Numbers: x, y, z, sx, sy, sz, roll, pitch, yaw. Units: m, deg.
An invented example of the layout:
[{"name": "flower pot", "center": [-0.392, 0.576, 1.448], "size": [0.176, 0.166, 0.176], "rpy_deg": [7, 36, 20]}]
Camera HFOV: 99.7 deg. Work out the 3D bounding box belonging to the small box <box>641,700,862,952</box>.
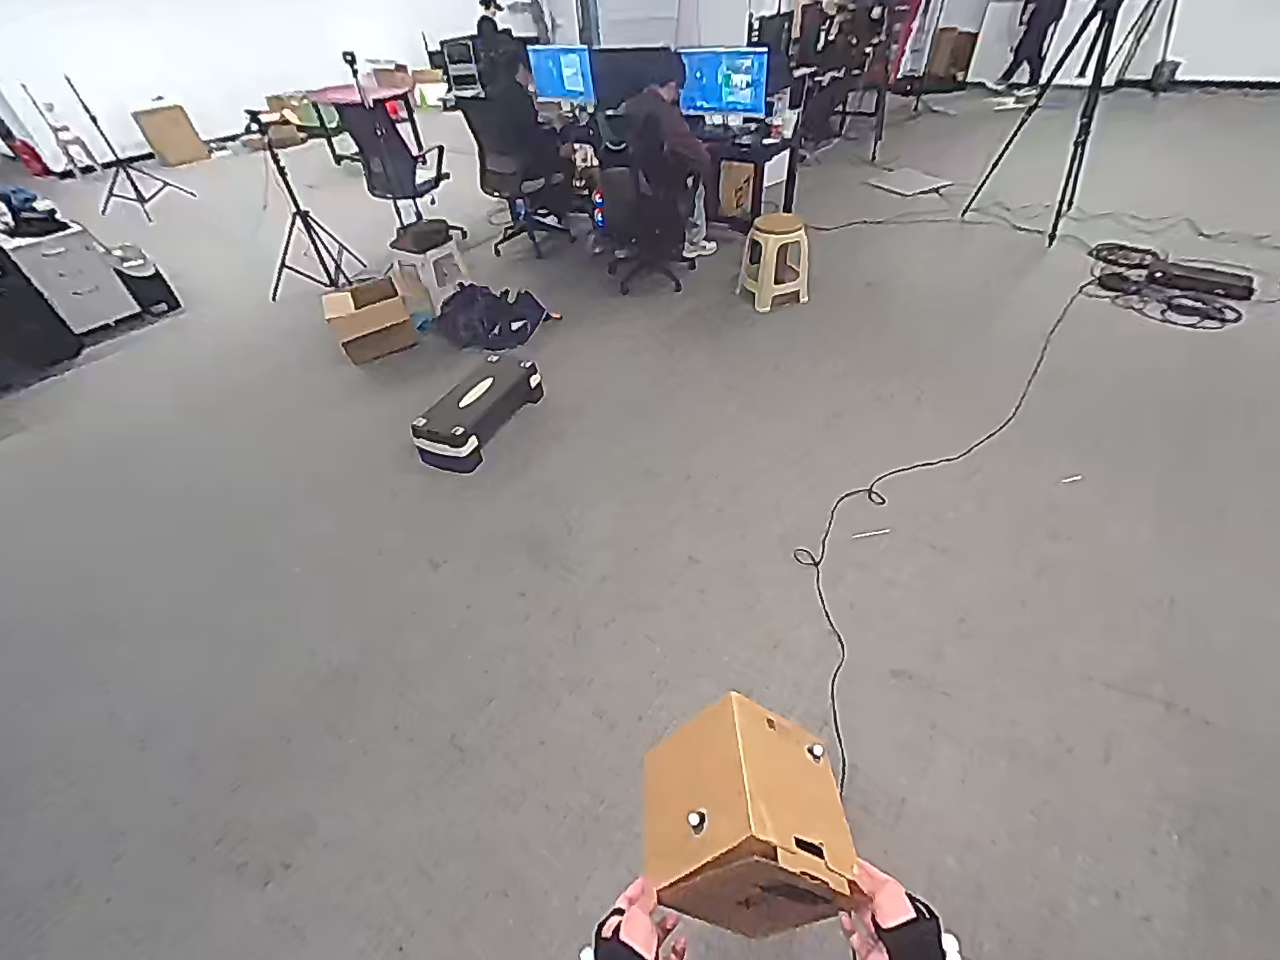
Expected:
[{"name": "small box", "center": [0.114, 0.395, 0.632], "size": [0.168, 0.179, 0.176], "rpy_deg": [35, 23, -16]}]
